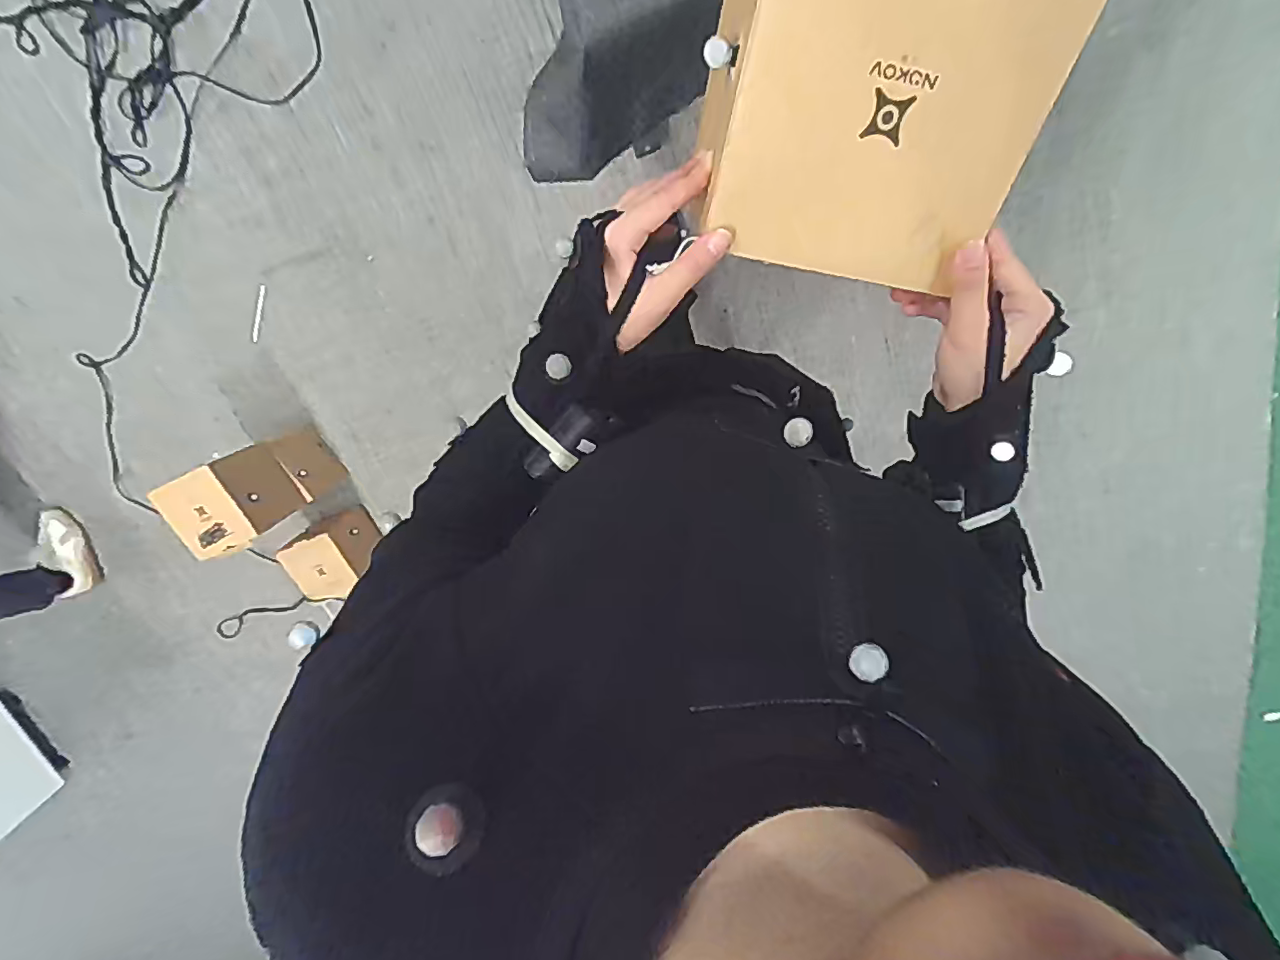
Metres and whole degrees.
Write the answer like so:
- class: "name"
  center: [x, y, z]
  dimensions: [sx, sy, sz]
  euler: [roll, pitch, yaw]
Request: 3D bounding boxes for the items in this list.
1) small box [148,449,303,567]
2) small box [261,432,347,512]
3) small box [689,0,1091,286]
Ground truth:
- class: "small box"
  center: [-0.898, 0.056, 1.192]
  dimensions: [0.168, 0.176, 0.179]
  euler: [-22, 108, 10]
- class: "small box"
  center: [-0.882, 0.003, 1.348]
  dimensions: [0.179, 0.176, 0.168]
  euler: [-27, 107, 12]
- class: "small box"
  center: [0.128, -0.247, 0.347]
  dimensions: [0.168, 0.176, 0.179]
  euler: [8, 123, -4]
